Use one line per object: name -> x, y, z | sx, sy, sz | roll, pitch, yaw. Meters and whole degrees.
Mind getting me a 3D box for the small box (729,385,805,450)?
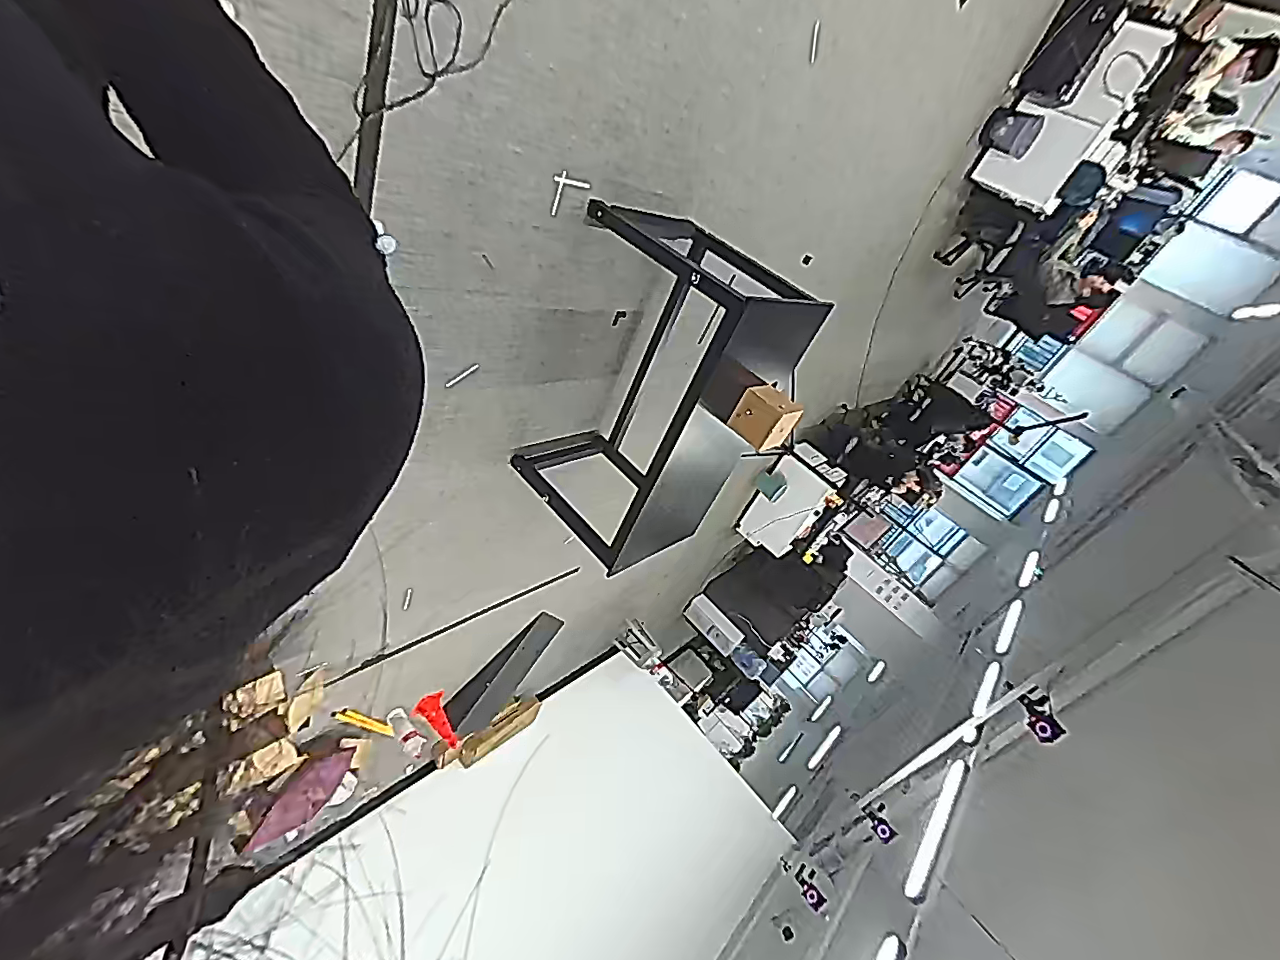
small box -> 0.462, -0.235, 1.977 | 0.179, 0.176, 0.168 | -17, 142, -47
